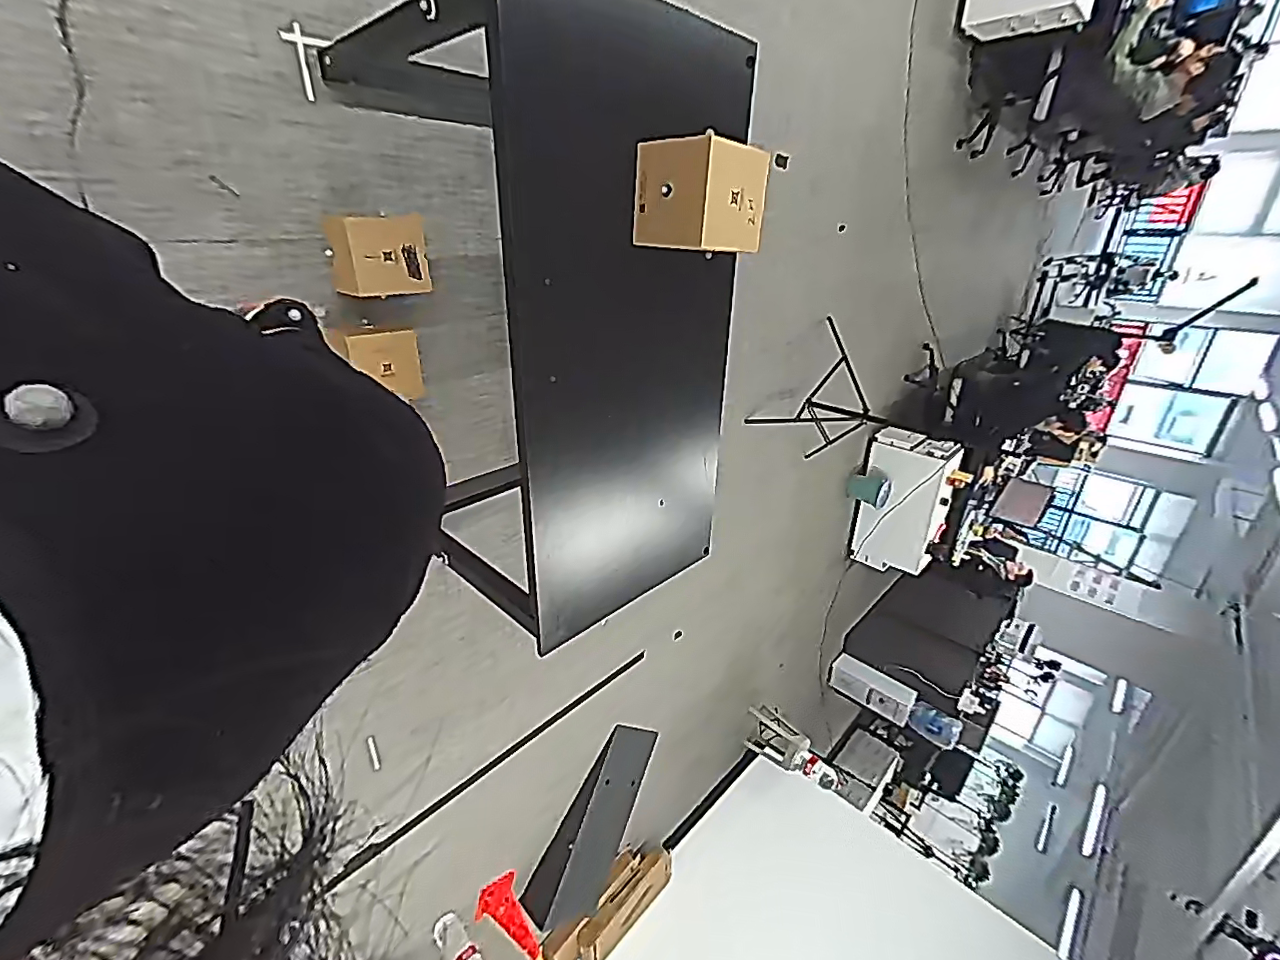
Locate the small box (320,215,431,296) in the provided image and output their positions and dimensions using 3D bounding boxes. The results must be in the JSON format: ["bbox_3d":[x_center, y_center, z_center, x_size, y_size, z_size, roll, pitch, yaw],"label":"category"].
[{"bbox_3d":[-0.629,-0.539,1.292,0.179,0.176,0.168,-22,123,-40],"label":"small box"}]

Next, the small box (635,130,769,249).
[{"bbox_3d":[0.107,-0.516,0.982,0.179,0.176,0.168,-19,122,-43],"label":"small box"}]

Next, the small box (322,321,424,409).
[{"bbox_3d":[-0.672,-0.295,1.364,0.168,0.176,0.179,-24,124,-41],"label":"small box"}]
